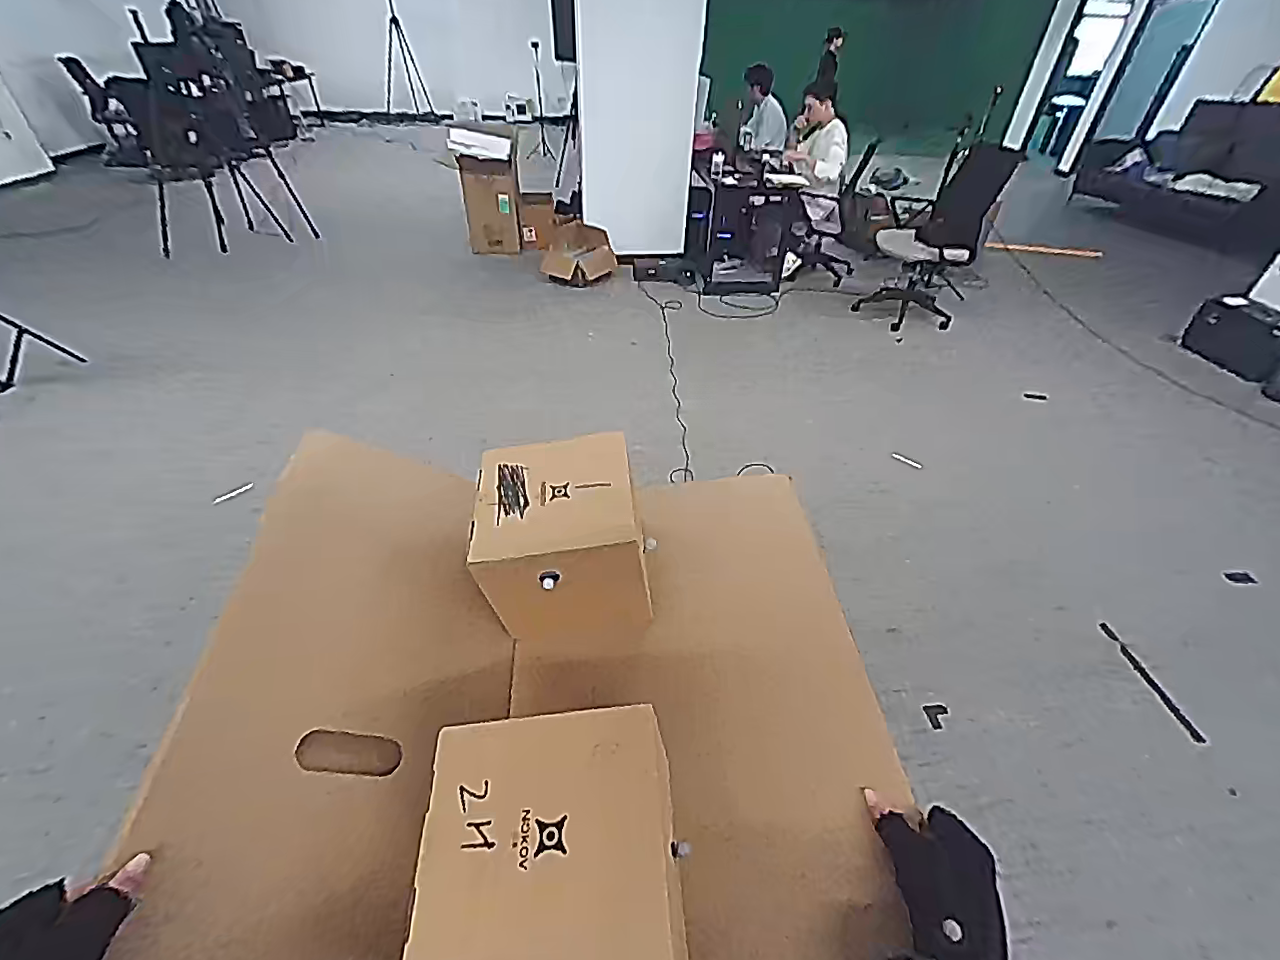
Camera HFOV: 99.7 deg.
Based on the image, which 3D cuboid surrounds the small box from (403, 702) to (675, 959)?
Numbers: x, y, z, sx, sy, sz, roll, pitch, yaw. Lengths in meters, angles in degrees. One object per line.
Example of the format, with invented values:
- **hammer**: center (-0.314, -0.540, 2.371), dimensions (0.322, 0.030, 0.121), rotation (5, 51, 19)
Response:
- **small box**: center (-0.064, 0.304, 0.454), dimensions (0.179, 0.176, 0.168), rotation (-7, 48, 3)

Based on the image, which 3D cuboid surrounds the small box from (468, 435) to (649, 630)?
- **small box**: center (-0.089, 0.069, 0.668), dimensions (0.179, 0.176, 0.168), rotation (-8, 48, 1)
